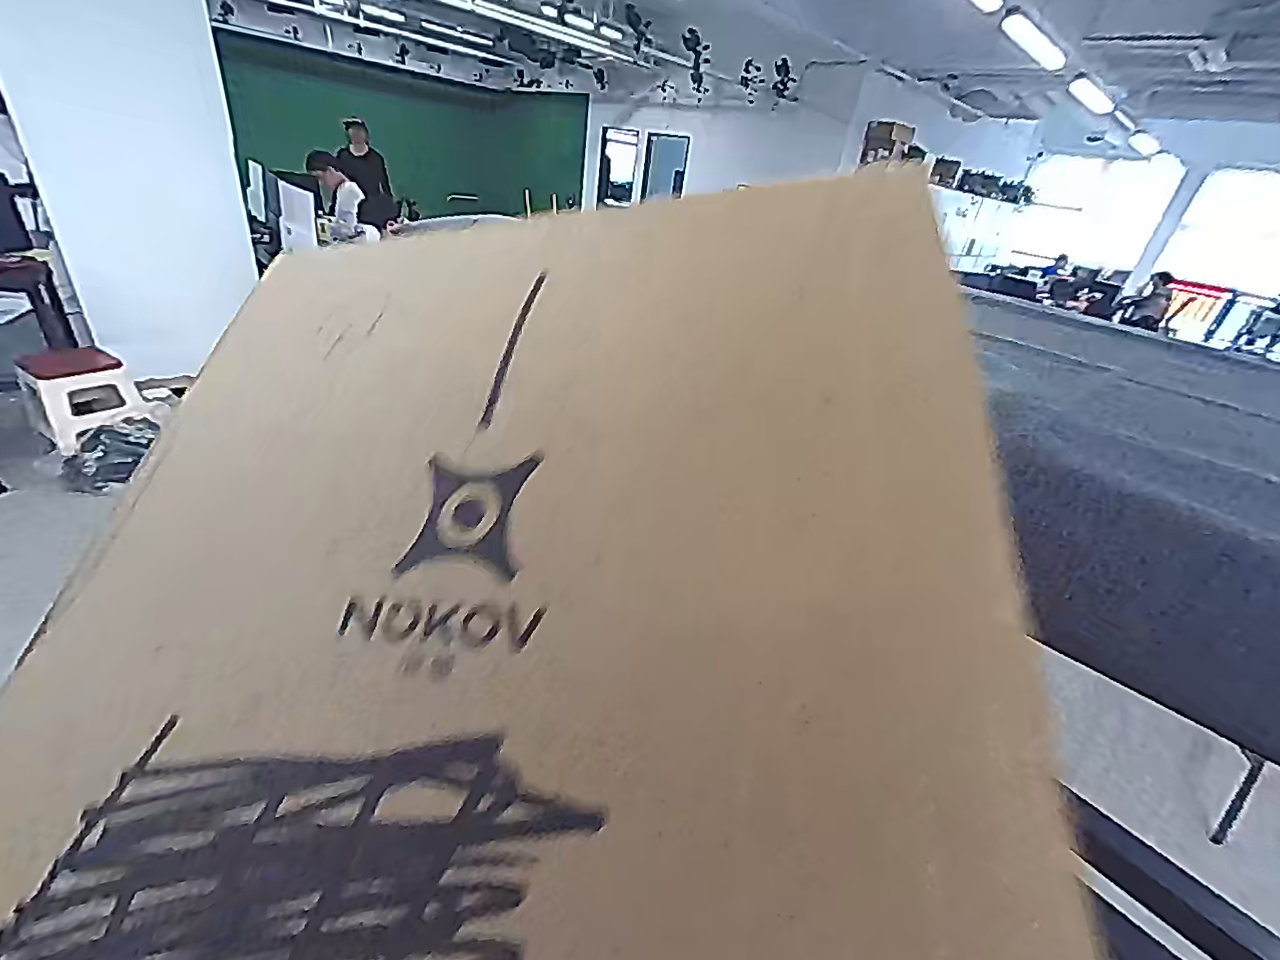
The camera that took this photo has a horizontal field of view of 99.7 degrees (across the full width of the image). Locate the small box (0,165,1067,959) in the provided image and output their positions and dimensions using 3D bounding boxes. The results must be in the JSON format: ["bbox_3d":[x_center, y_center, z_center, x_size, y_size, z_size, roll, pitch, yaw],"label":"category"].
[{"bbox_3d":[-0.012,0.052,0.159,0.168,0.176,0.179,0,61,15],"label":"small box"}]
